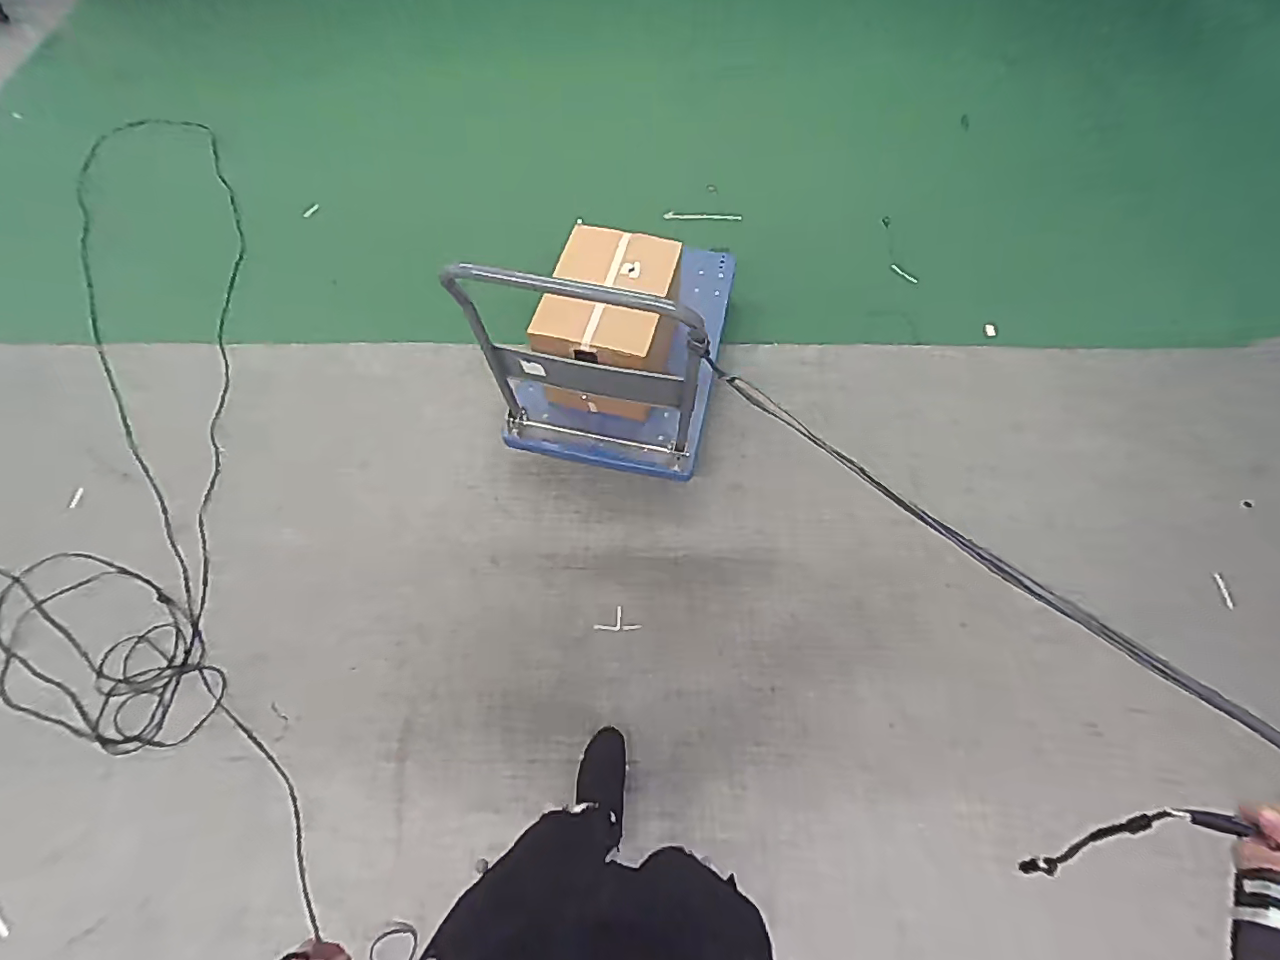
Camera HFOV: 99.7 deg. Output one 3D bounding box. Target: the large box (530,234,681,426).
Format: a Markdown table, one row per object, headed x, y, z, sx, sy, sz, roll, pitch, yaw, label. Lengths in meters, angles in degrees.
| x | y | z | sx | sy | sz | roll | pitch | yaw | label |
| --- | --- | --- | --- | --- | --- | --- | --- | --- | --- |
| -0.079 | -0.417 | 1.539 | 0.320 | 0.320 | 0.408 | 14 | 65 | 7 | large box |
